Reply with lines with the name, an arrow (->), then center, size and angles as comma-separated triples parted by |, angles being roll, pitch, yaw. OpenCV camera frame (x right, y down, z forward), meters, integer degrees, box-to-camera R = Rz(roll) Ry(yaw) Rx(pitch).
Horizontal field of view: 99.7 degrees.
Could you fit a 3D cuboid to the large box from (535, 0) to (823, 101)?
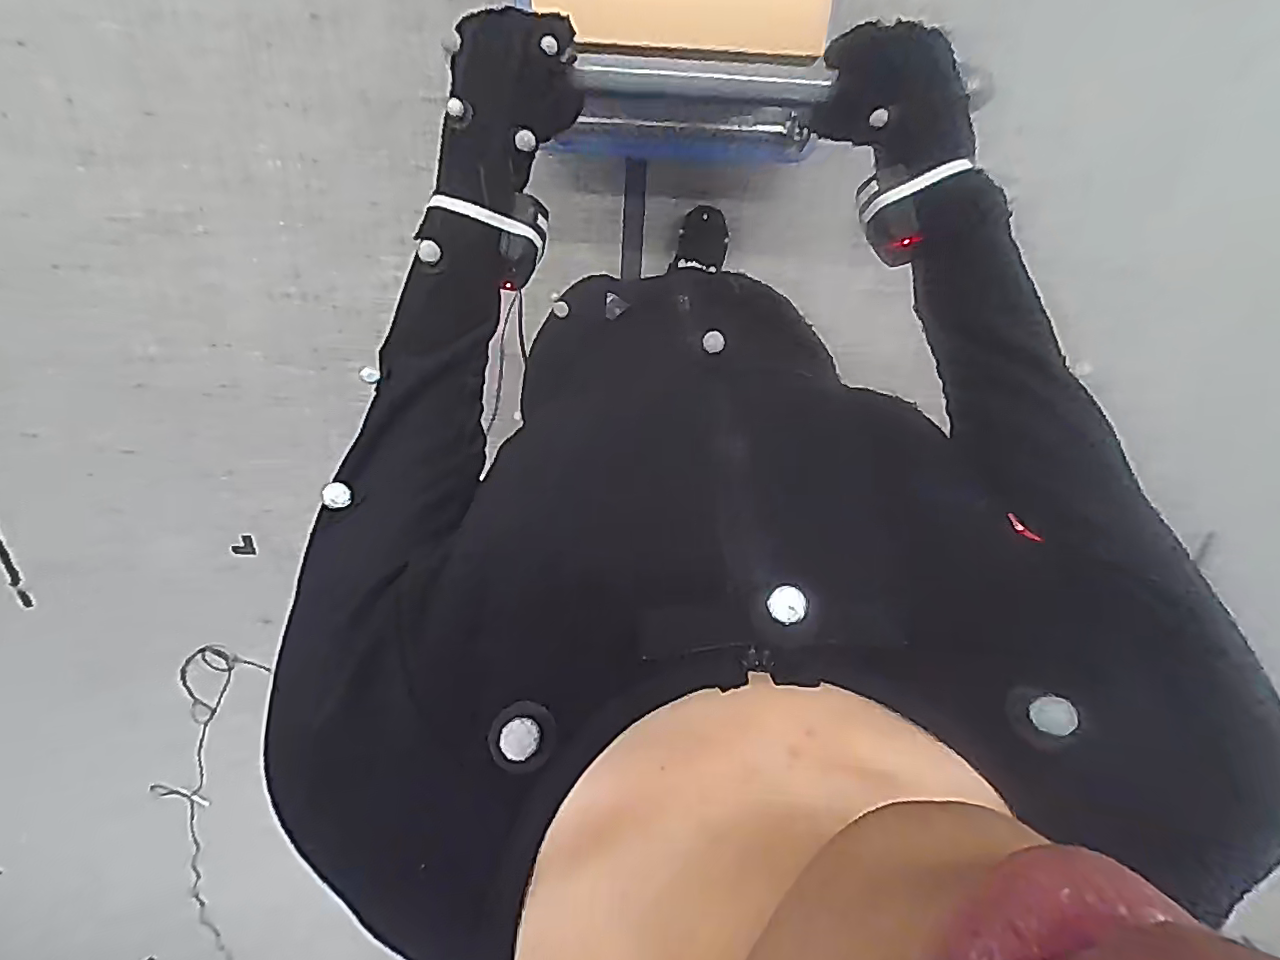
large box -> 0.050, -0.808, 0.833 | 0.408, 0.320, 0.320 | 1, 115, -3
